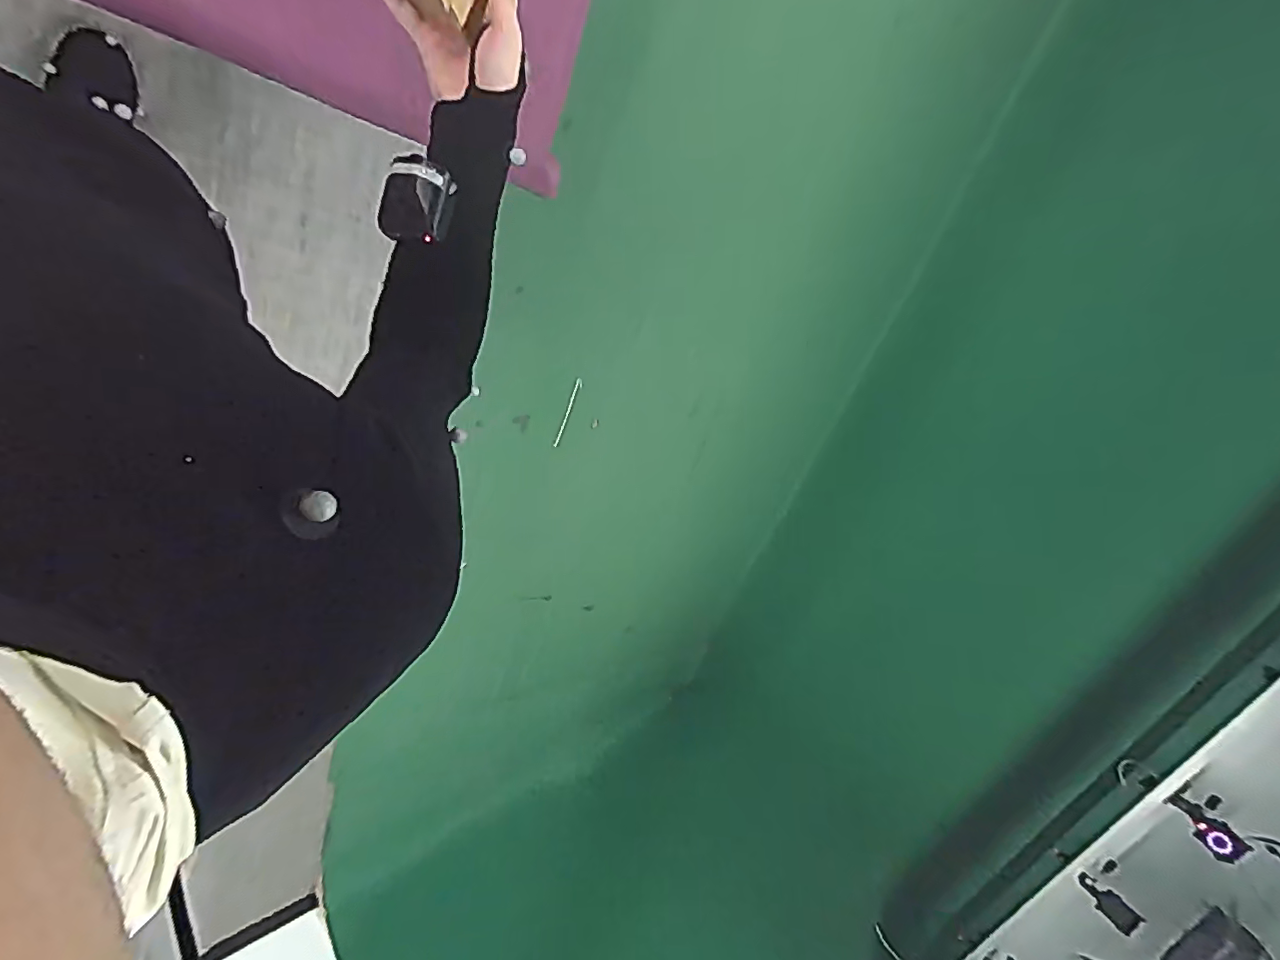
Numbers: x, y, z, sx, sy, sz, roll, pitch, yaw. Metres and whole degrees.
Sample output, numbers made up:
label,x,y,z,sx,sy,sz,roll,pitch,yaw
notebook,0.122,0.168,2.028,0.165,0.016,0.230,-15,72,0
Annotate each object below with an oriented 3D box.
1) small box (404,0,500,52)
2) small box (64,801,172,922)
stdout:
label,x,y,z,sx,sy,sz,roll,pitch,yaw
small box,-0.170,-0.479,0.379,0.179,0.176,0.168,-53,-174,5
small box,-1.389,1.000,1.437,0.179,0.176,0.168,10,114,-52
